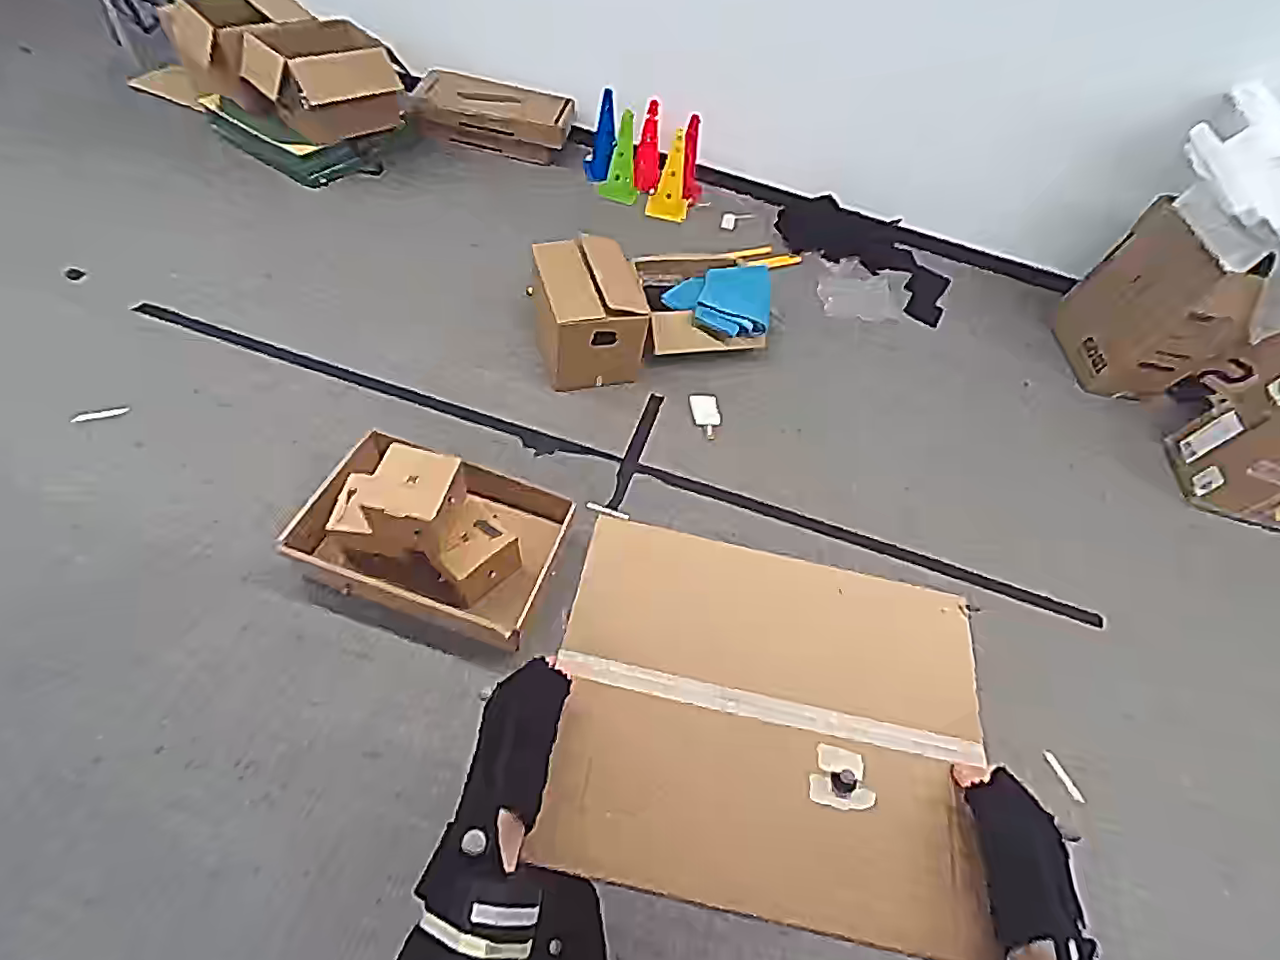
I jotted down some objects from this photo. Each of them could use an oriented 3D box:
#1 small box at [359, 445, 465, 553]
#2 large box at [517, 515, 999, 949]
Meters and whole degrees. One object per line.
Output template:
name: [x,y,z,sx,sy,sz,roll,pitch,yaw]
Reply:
small box: [-0.522,0.050,1.269,0.168,0.176,0.179,14,54,-3]
large box: [0.104,0.278,0.632,0.408,0.320,0.320,13,60,1]
